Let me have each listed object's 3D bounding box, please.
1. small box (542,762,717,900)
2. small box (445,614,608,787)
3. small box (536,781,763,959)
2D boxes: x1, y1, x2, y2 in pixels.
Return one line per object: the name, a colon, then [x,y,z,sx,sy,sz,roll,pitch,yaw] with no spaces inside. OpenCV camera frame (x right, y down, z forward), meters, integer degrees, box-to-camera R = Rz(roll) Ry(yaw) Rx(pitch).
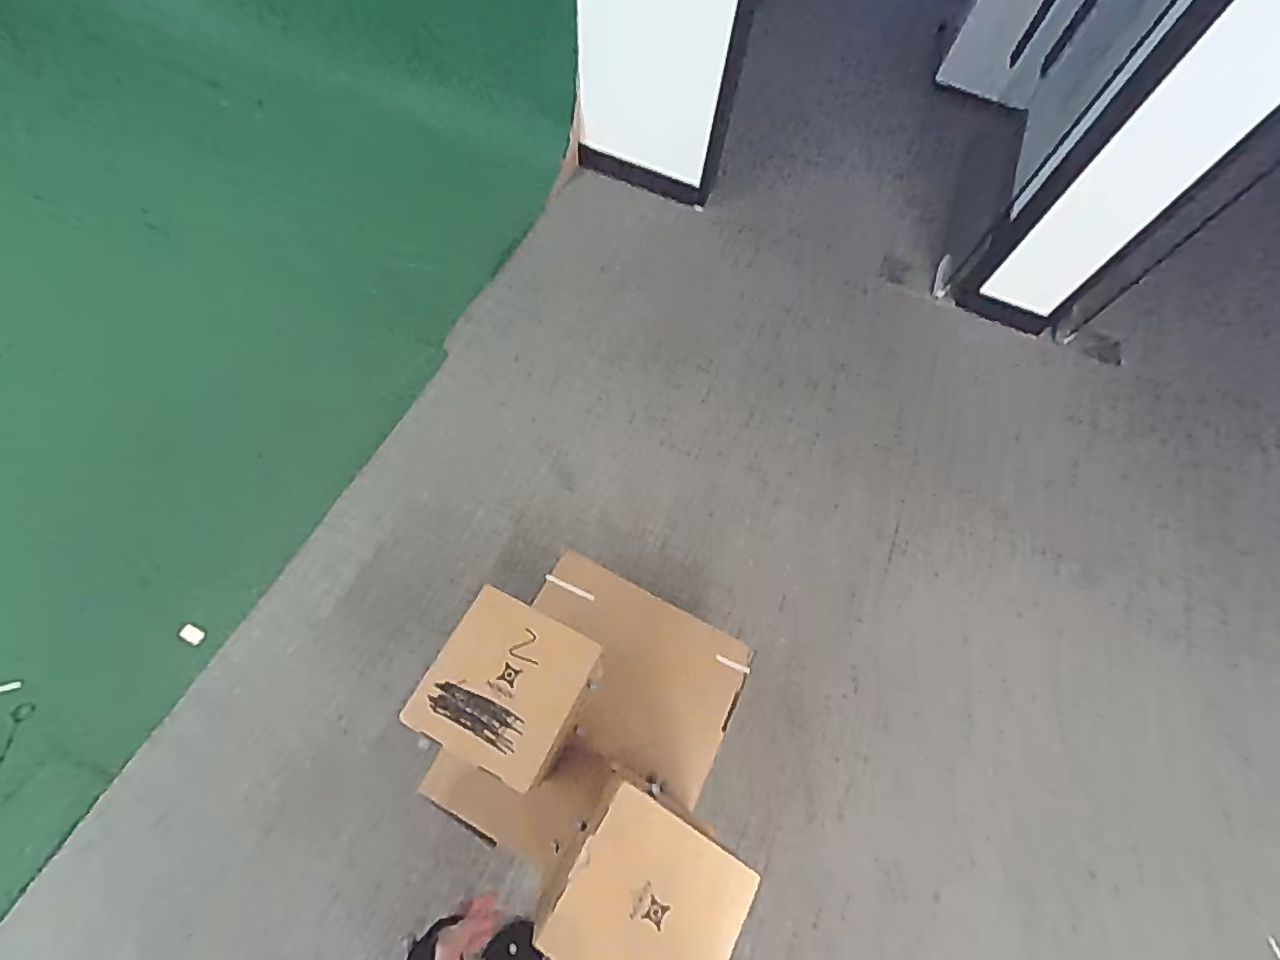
small box: [-0.018,0.525,0.759,0.168,0.176,0.179,31,64,7]
small box: [-0.167,0.341,0.835,0.168,0.176,0.179,29,63,10]
small box: [0.005,0.464,0.609,0.179,0.176,0.168,31,64,8]
